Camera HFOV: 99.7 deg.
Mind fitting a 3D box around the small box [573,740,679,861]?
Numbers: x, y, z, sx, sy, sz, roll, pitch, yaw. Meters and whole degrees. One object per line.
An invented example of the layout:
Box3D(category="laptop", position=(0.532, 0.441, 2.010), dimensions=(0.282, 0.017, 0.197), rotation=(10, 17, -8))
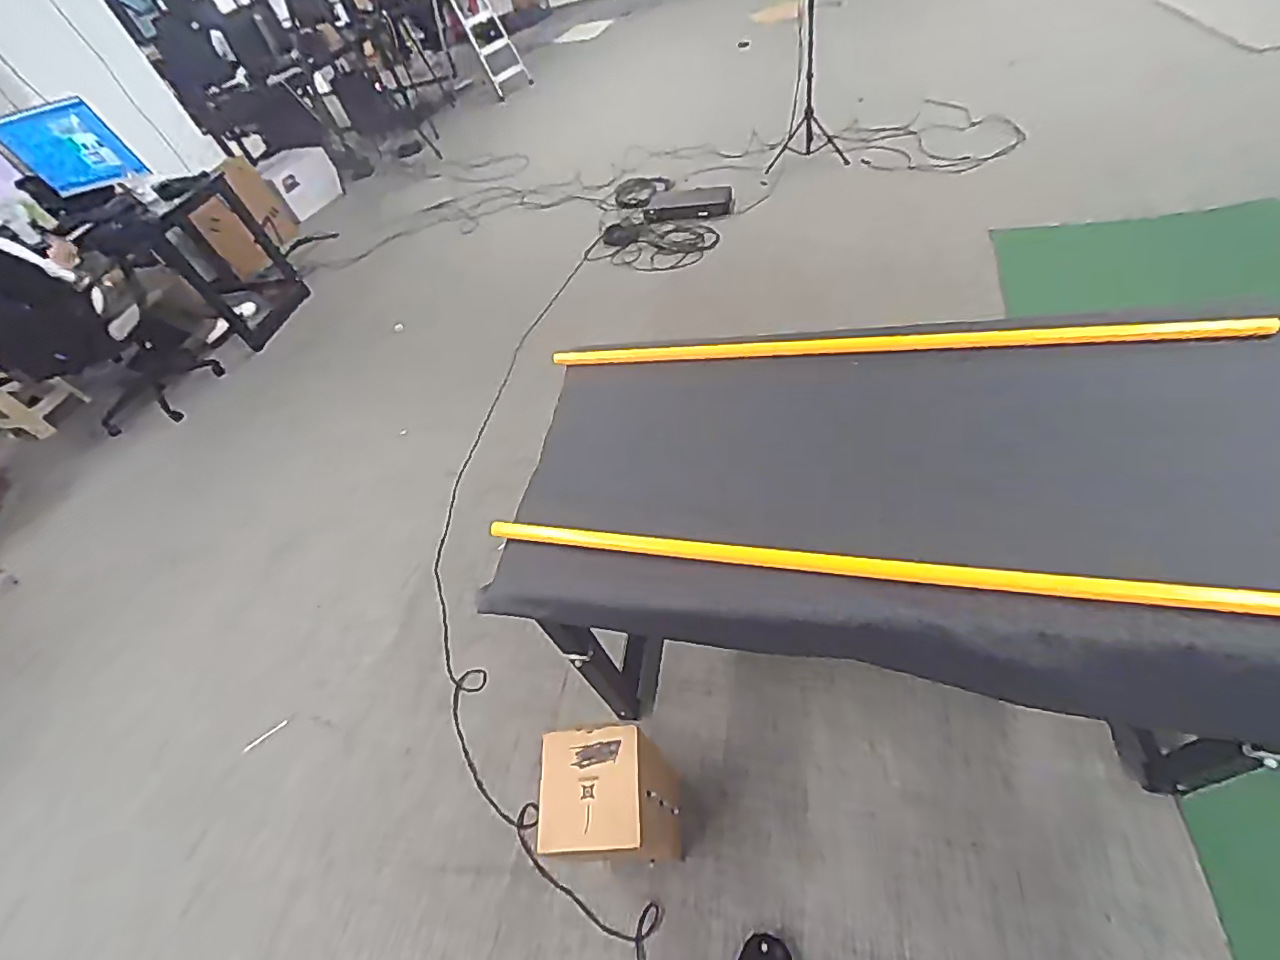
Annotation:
Box3D(category="small box", position=(-0.026, 0.634, 1.063), dimensions=(0.168, 0.176, 0.179), rotation=(-13, 49, 8))
